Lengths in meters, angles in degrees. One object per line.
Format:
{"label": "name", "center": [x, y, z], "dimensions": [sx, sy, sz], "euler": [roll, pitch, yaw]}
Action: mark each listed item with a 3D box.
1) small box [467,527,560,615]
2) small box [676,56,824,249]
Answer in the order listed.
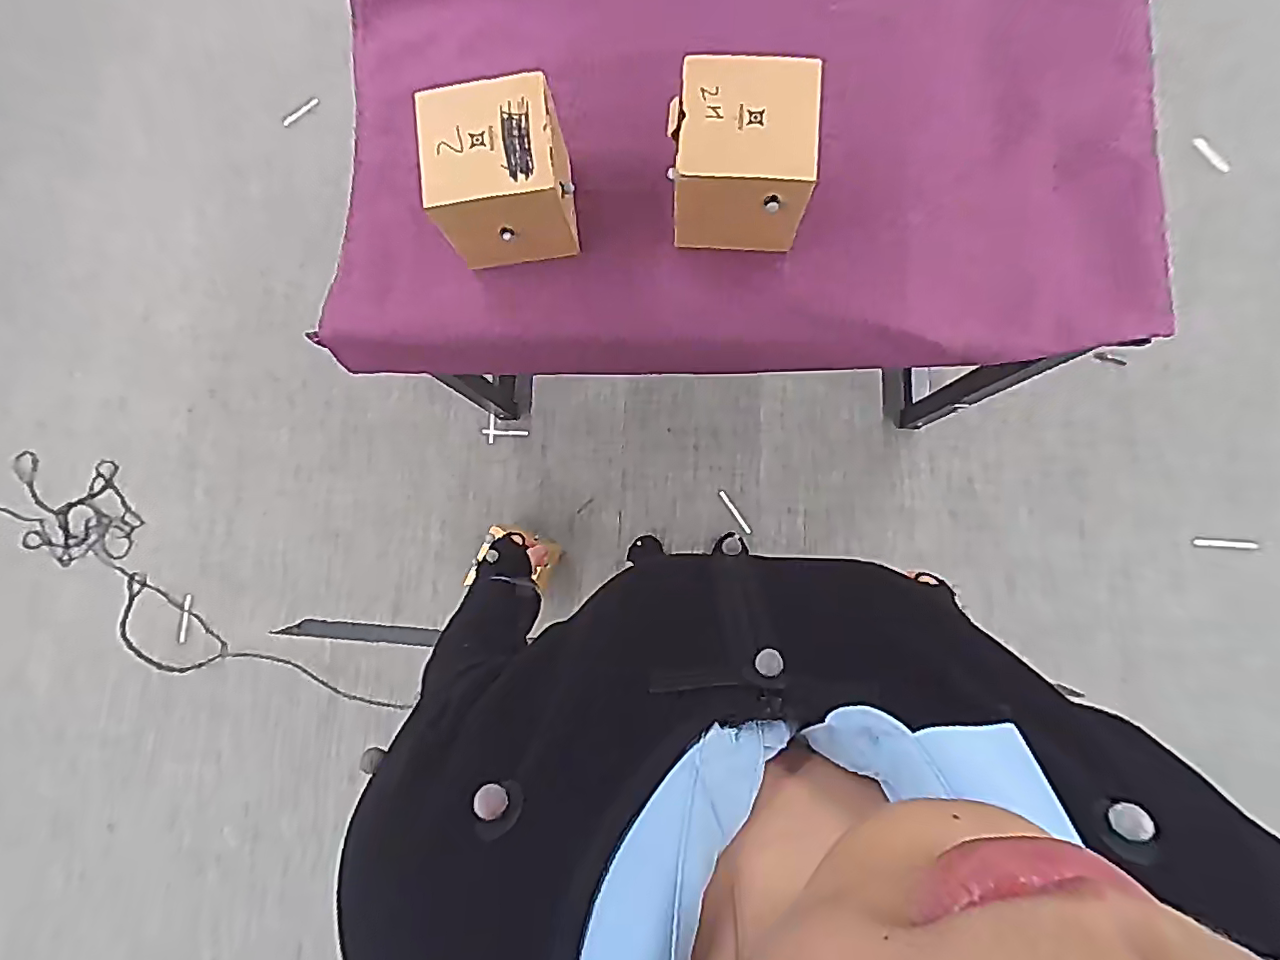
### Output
{"label": "small box", "center": [-0.331, 0.238, 1.455], "dimensions": [0.168, 0.176, 0.179], "euler": [24, 86, 5]}
{"label": "small box", "center": [0.143, -0.442, 0.754], "dimensions": [0.179, 0.176, 0.168], "euler": [4, 84, 5]}
